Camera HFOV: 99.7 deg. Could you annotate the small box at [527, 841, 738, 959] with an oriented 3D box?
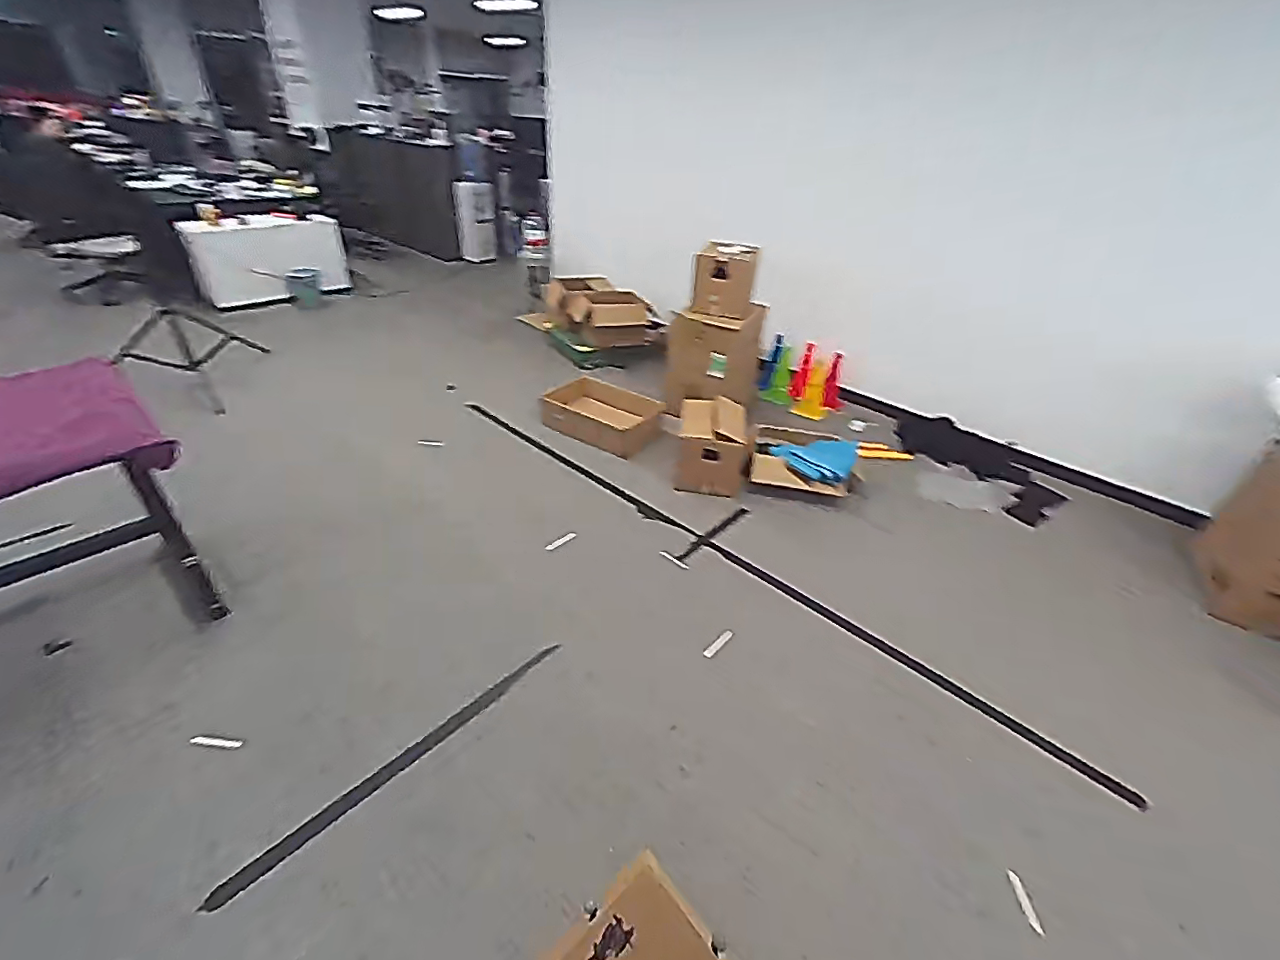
[{"bbox_3d":[0.000,0.488,0.522,0.168,0.176,0.179,-39,69,-20],"label":"small box"}]
